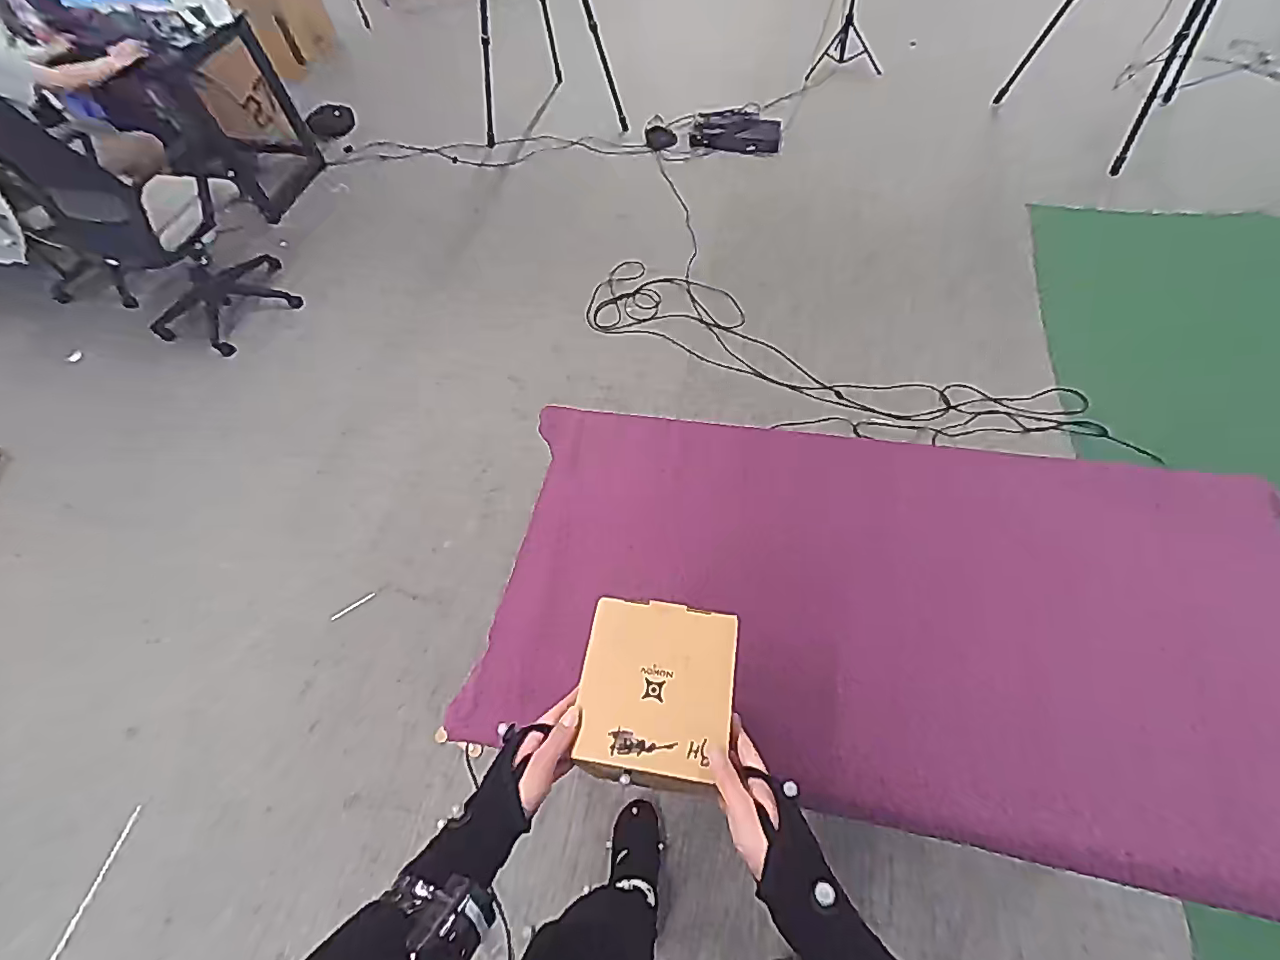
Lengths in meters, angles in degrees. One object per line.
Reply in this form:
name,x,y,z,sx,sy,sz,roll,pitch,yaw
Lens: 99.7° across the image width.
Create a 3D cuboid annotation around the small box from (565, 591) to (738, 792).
small box,0.021,0.258,0.653,0.168,0.176,0.179,6,56,9
